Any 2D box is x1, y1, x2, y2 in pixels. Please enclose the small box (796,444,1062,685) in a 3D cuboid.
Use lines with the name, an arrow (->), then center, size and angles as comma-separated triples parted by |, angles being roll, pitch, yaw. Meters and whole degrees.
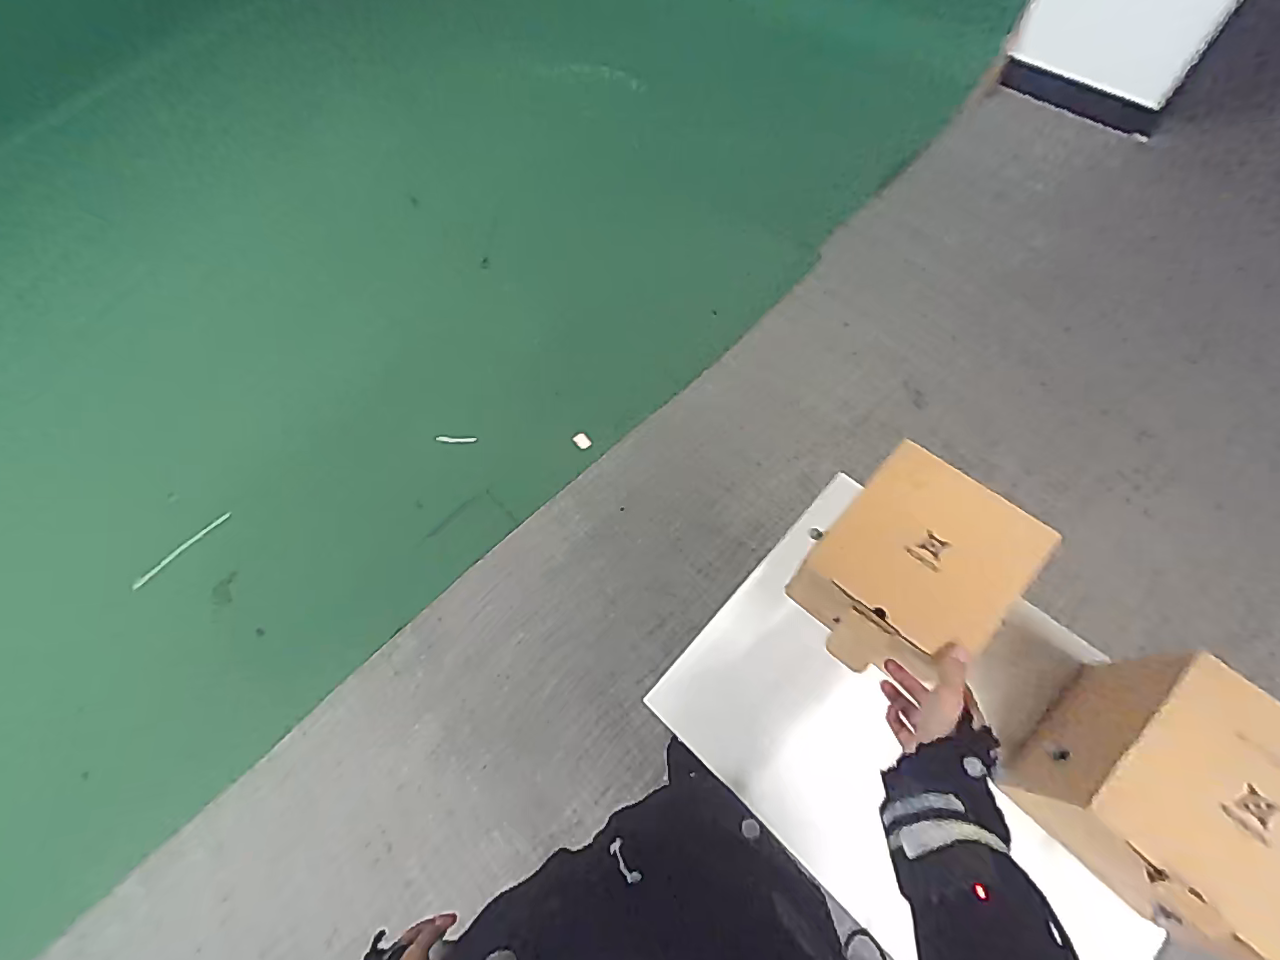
small box -> 0.290, 0.099, 0.590 | 0.168, 0.176, 0.179 | 40, 79, 20

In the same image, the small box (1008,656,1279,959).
small box -> 0.476, 0.286, 0.484 | 0.179, 0.176, 0.168 | -43, 69, -11
